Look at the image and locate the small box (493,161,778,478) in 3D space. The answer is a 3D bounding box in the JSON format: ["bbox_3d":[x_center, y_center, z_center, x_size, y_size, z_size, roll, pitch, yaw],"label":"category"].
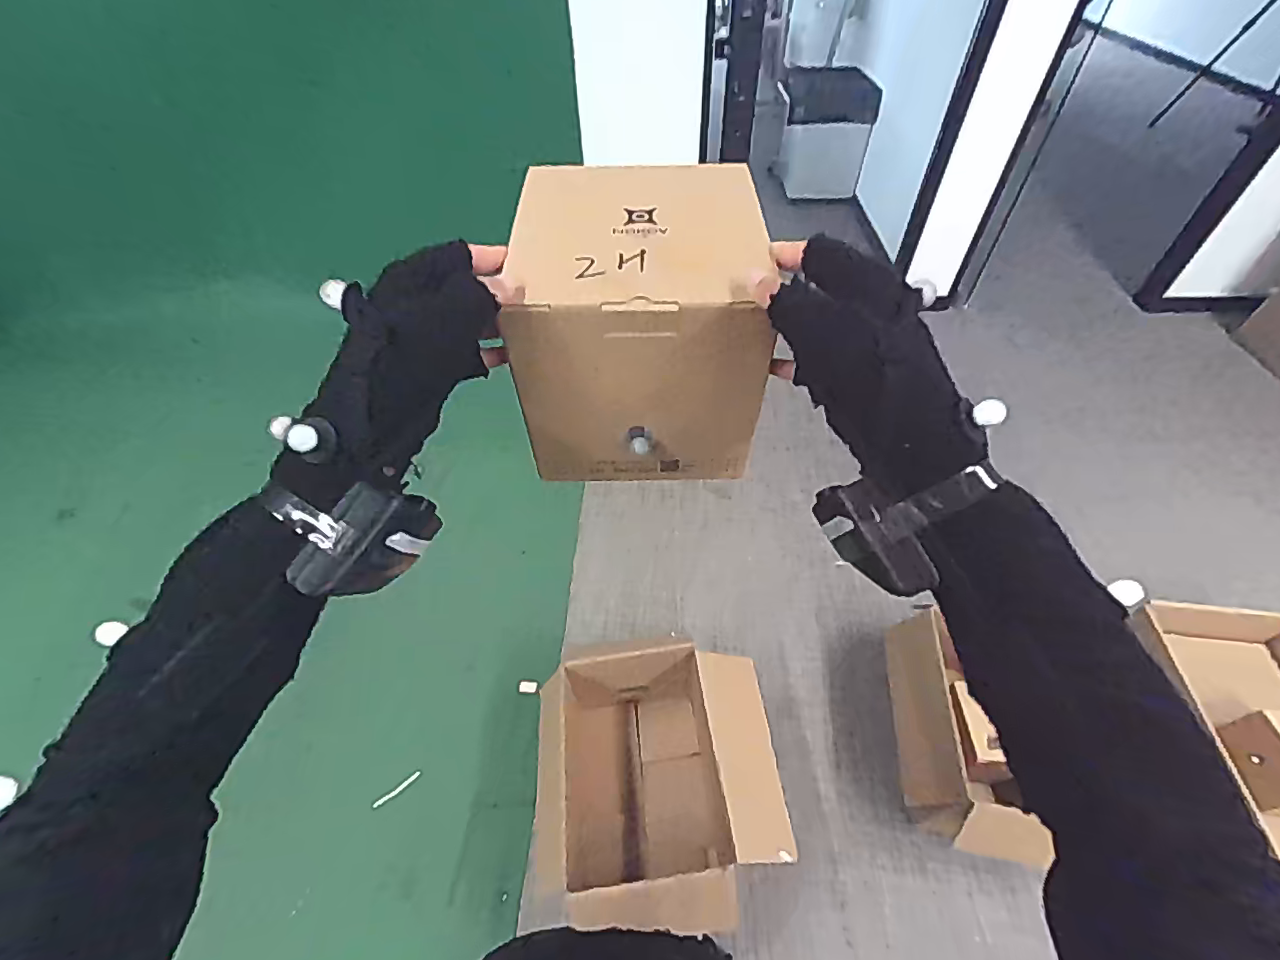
[{"bbox_3d":[-0.001,-0.120,0.419,0.168,0.176,0.179,-1,54,1],"label":"small box"}]
